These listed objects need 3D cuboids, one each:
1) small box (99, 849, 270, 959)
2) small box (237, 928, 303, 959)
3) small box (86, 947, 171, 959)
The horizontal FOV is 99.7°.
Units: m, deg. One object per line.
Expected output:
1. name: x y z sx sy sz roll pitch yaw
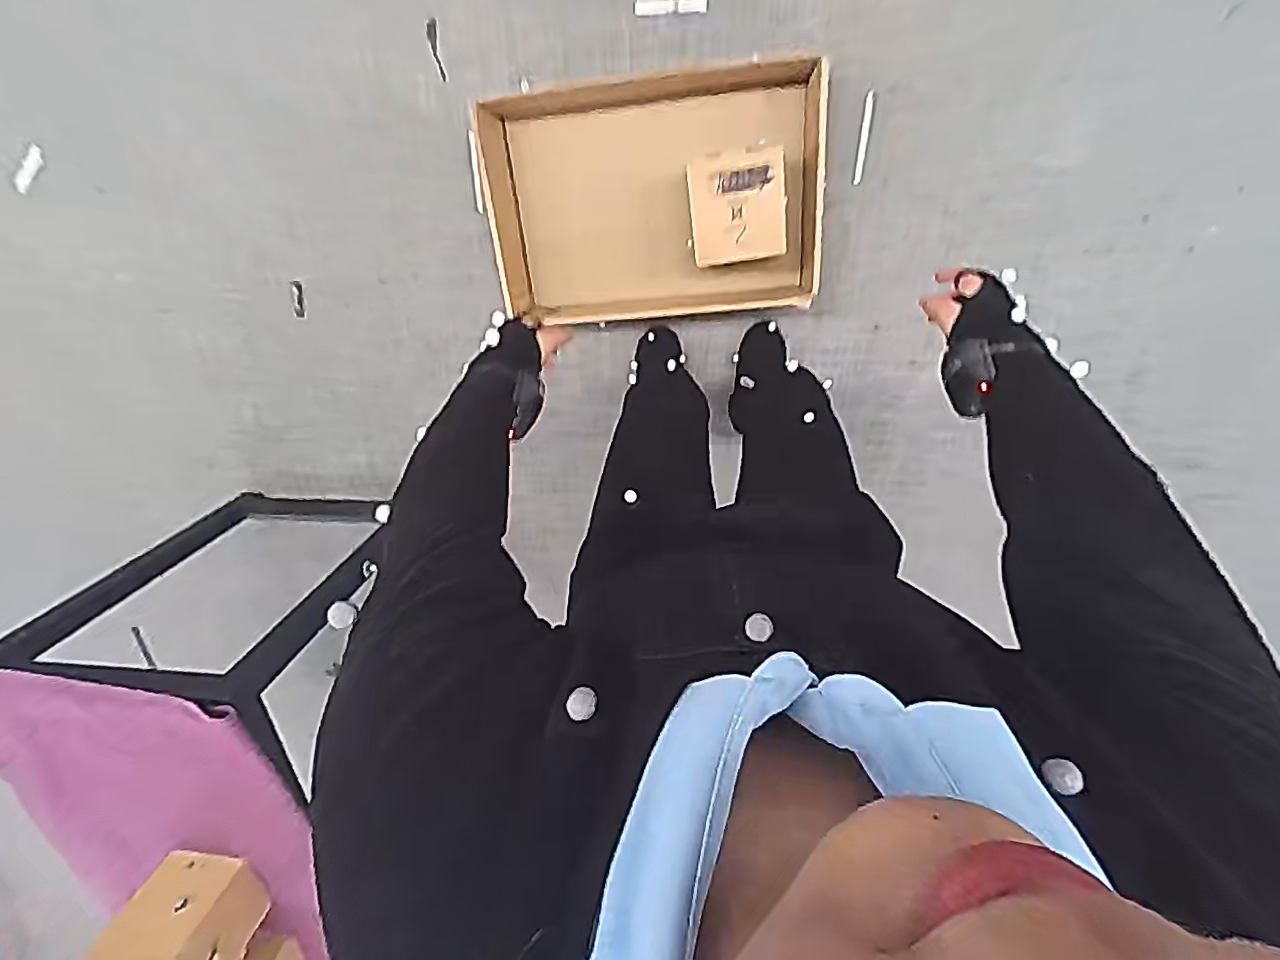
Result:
1. small box: -0.883 0.868 1.069 0.168 0.176 0.179 3 116 6
2. small box: -0.872 1.127 1.189 0.168 0.176 0.179 2 115 6
3. small box: -0.909 0.945 0.925 0.179 0.176 0.168 3 116 6
